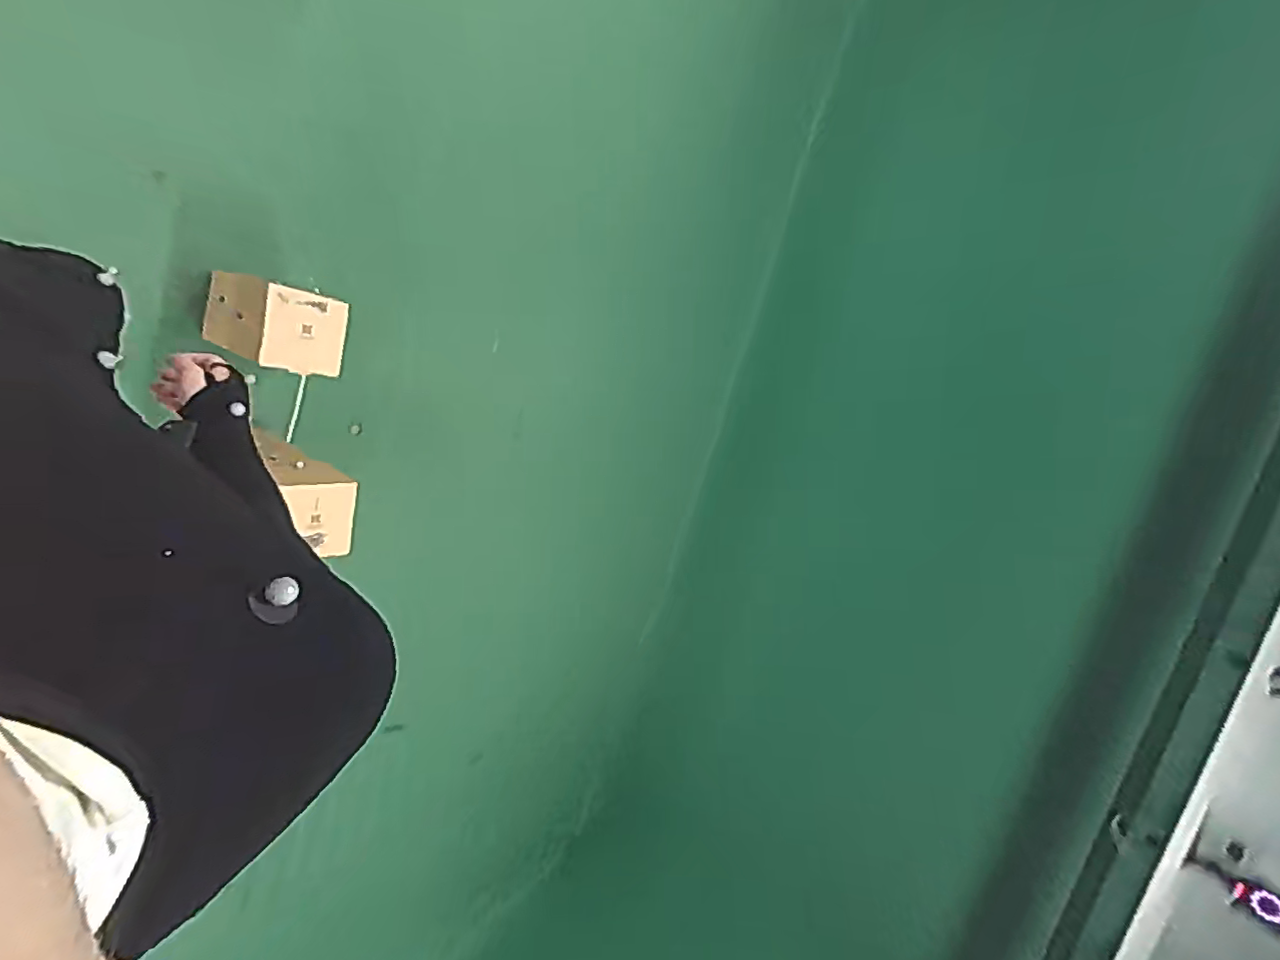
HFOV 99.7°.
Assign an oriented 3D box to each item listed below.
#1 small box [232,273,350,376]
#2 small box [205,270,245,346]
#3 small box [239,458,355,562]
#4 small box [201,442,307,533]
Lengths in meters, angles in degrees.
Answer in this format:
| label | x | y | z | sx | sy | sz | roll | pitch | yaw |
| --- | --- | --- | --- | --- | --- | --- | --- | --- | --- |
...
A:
| label | x | y | z | sx | sy | sz | roll | pitch | yaw |
| --- | --- | --- | --- | --- | --- | --- | --- | --- | --- |
| small box | -0.795 | -0.352 | 1.227 | 0.168 | 0.176 | 0.179 | 2 | 107 | -56 |
| small box | -0.923 | -0.400 | 1.319 | 0.179 | 0.176 | 0.168 | 7 | 102 | -55 |
| small box | -0.767 | 0.061 | 1.203 | 0.168 | 0.176 | 0.179 | -2 | 109 | -54 |
| small box | -0.904 | 0.010 | 1.281 | 0.179 | 0.176 | 0.168 | -5 | 112 | -52 |
